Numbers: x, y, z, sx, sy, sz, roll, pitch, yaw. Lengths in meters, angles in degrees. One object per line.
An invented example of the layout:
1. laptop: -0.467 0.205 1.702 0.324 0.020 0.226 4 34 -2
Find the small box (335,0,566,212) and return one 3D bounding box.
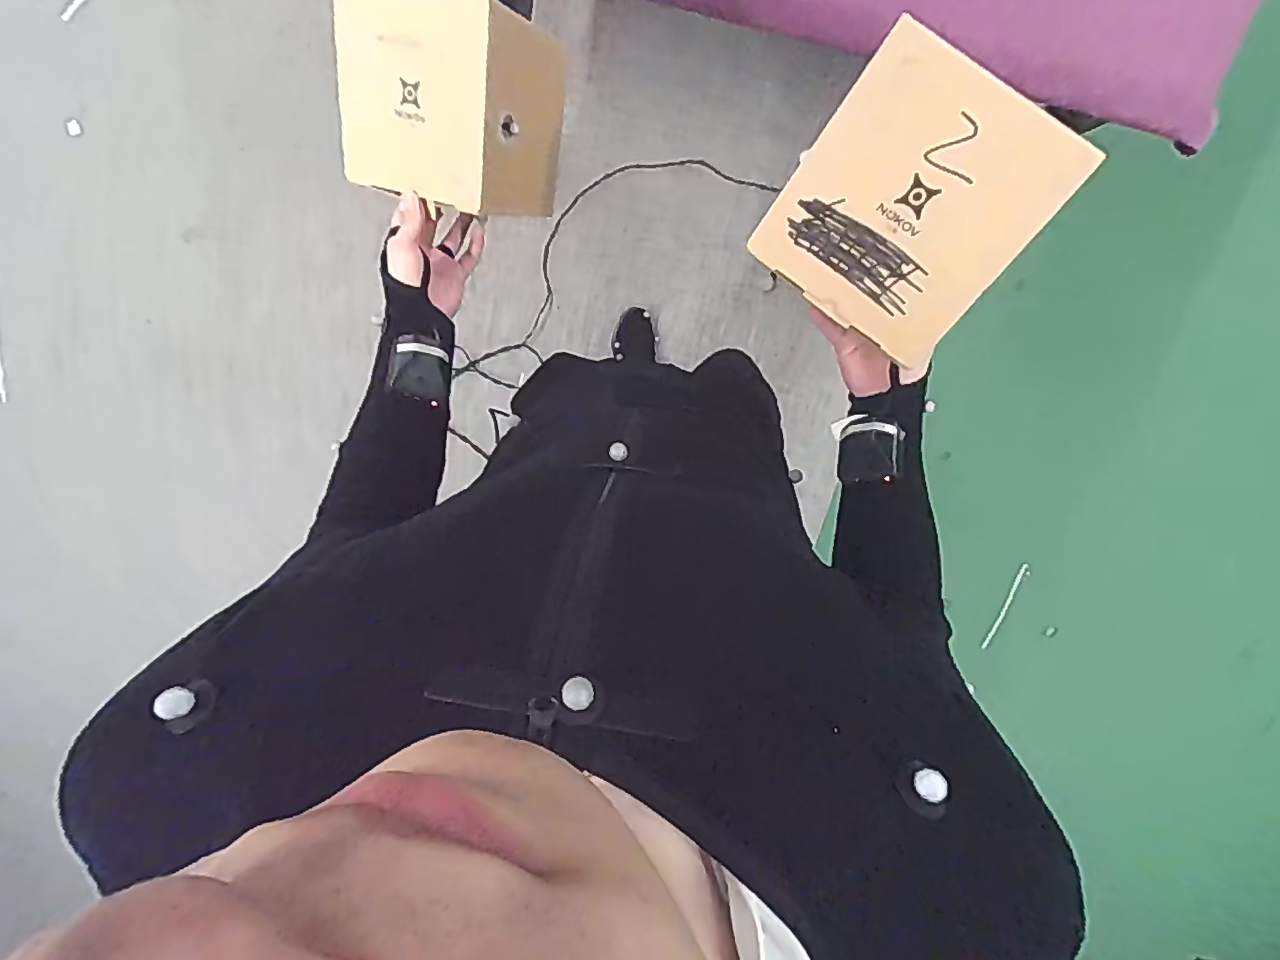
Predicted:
1. small box: -0.194 -0.401 0.585 0.168 0.176 0.179 19 118 10
